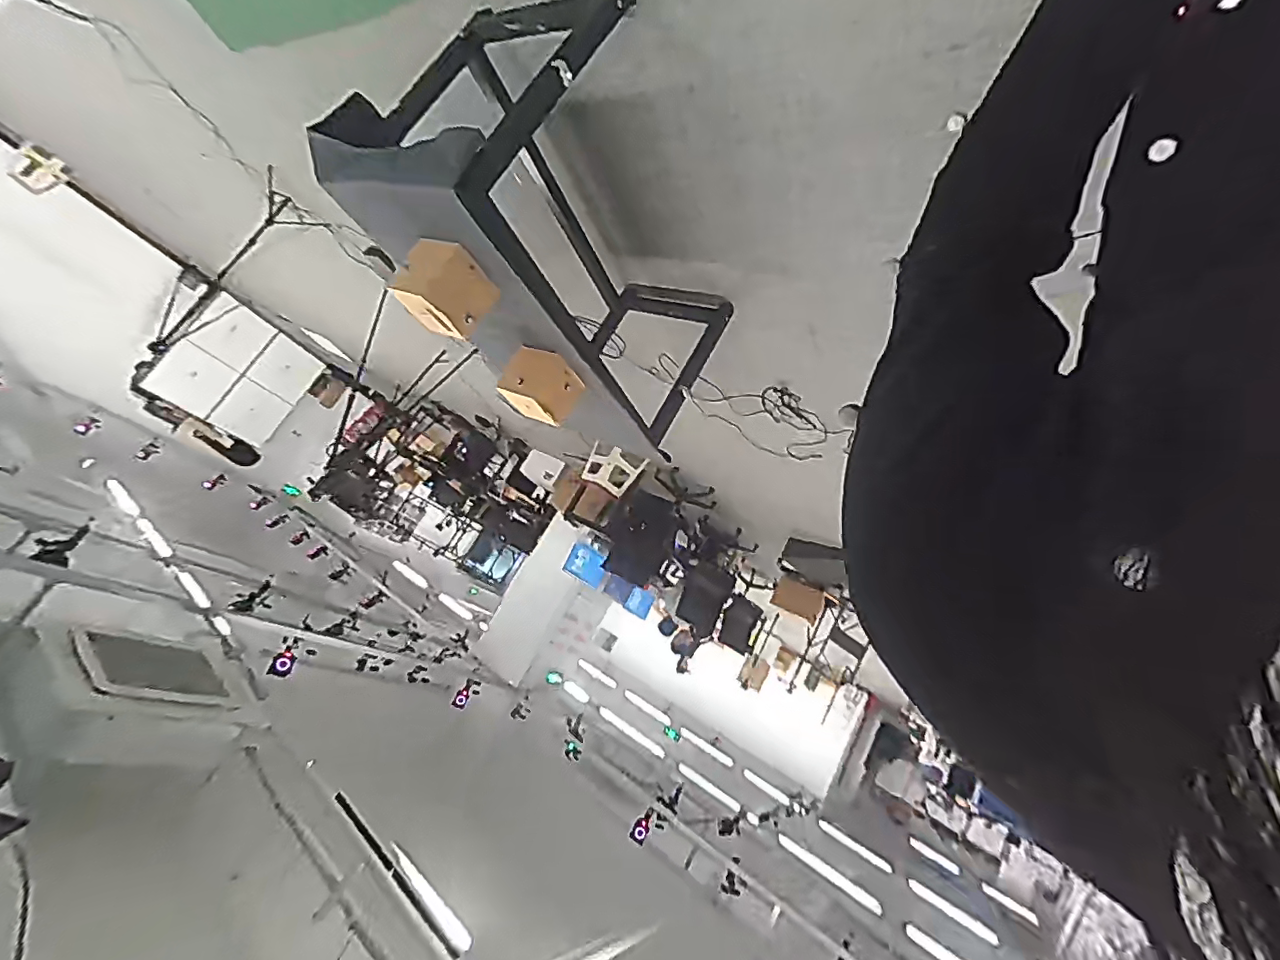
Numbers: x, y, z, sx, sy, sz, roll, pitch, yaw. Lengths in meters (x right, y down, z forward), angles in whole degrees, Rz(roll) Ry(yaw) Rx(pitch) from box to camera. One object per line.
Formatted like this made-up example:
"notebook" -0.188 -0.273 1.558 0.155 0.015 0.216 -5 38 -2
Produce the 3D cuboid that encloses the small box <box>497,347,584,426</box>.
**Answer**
"small box" -0.310 -0.302 1.716 0.179 0.176 0.168 20 164 33
